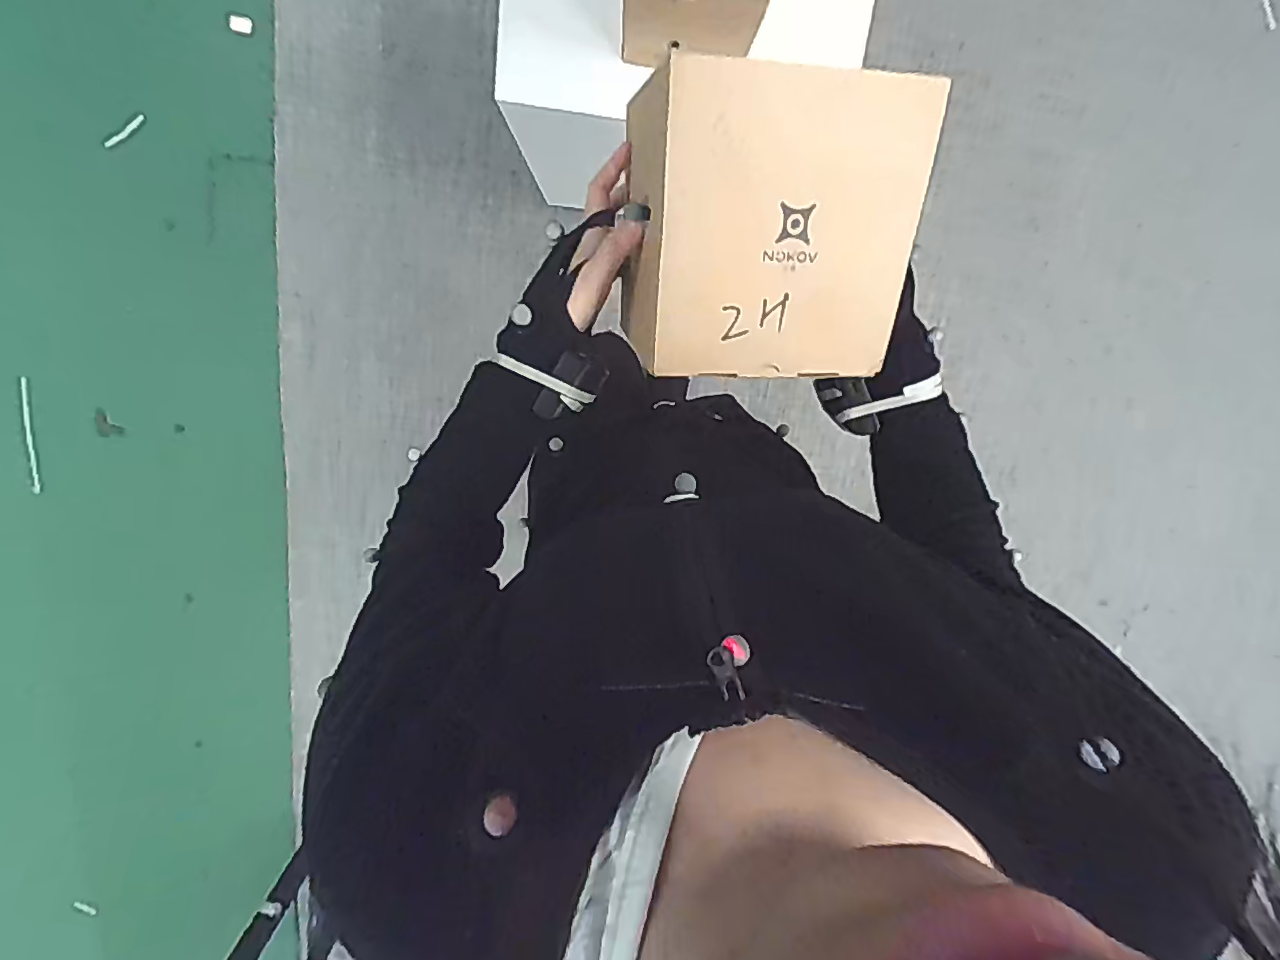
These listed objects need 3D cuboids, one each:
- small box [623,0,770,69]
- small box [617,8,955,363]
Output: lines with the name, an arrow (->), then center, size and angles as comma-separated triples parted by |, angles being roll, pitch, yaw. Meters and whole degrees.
small box -> 0.069, -0.627, 0.651 | 0.168, 0.176, 0.179 | 6, 102, -3
small box -> 0.075, -0.188, 0.385 | 0.168, 0.176, 0.179 | -1, 115, -9
